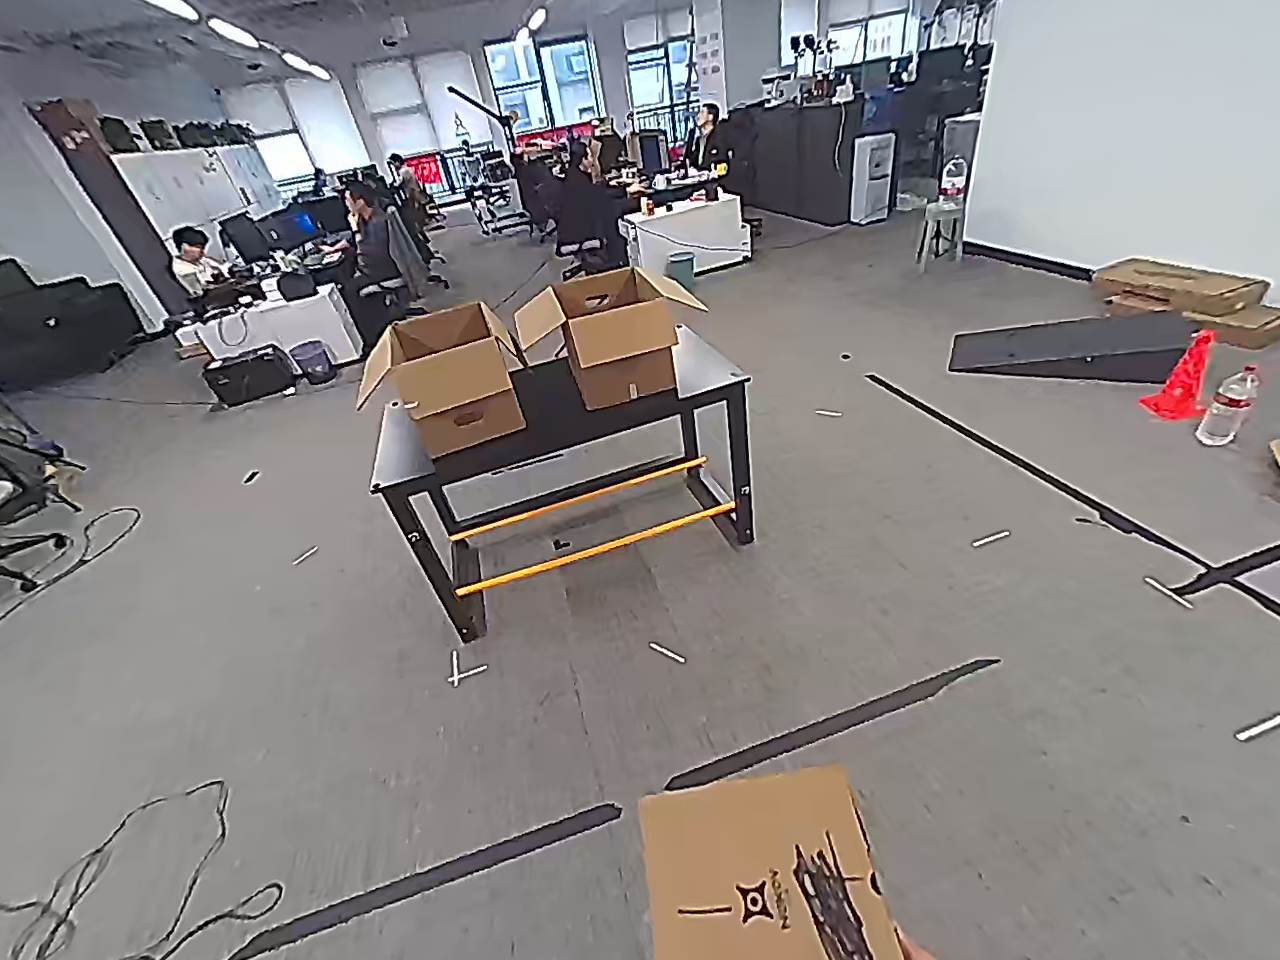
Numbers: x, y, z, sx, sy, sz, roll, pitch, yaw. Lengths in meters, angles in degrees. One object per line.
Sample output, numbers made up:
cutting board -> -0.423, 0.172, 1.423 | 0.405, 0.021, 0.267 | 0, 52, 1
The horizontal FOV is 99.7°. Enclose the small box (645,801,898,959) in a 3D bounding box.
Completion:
small box -> 0.105, 0.391, 0.460 | 0.179, 0.176, 0.168 | -10, 49, 1
